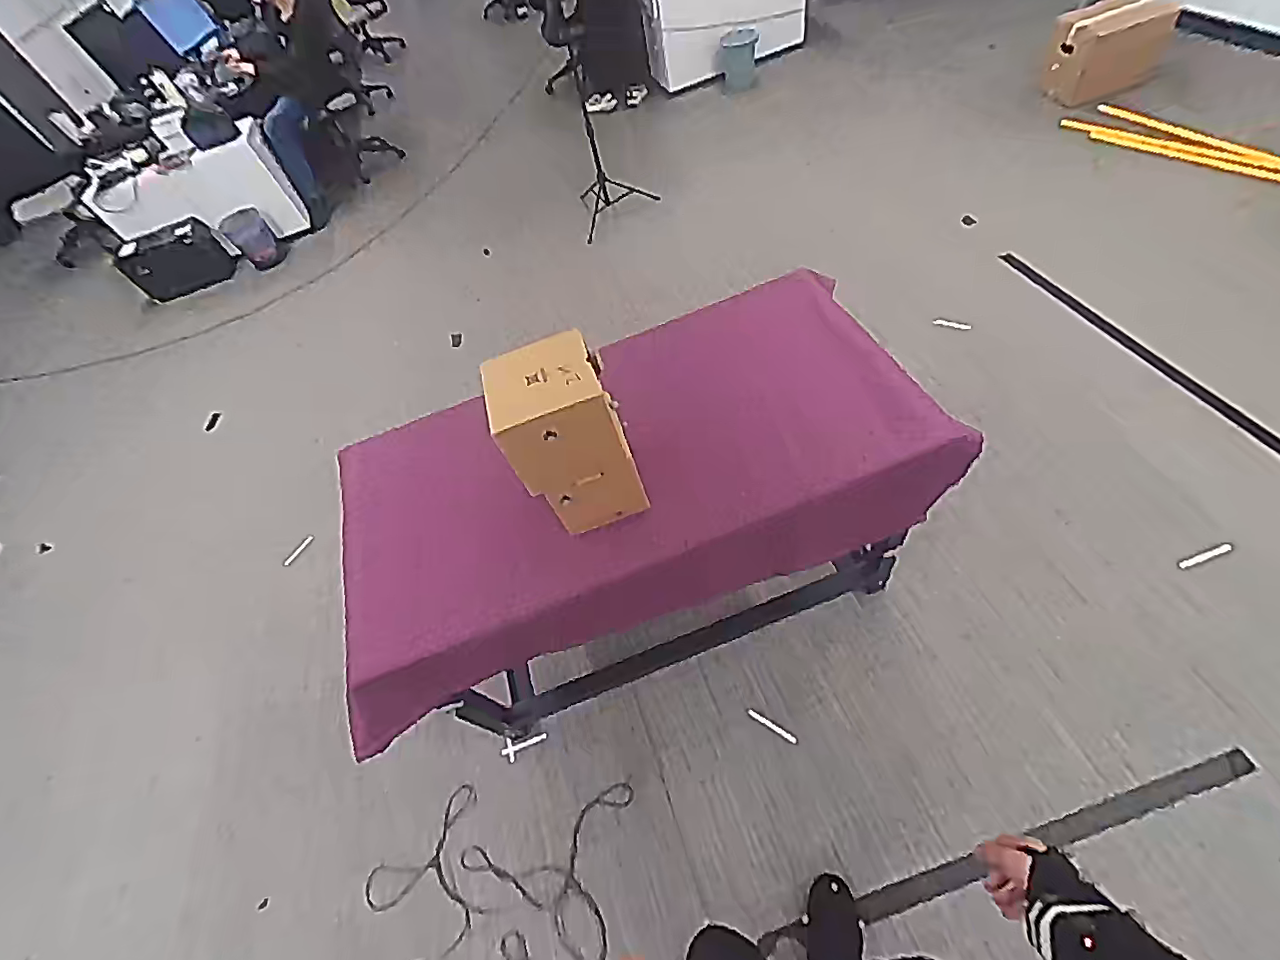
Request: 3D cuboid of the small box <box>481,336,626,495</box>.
[{"bbox_3d":[-0.140,-0.100,0.894,0.179,0.176,0.168,-20,53,0],"label":"small box"}]
